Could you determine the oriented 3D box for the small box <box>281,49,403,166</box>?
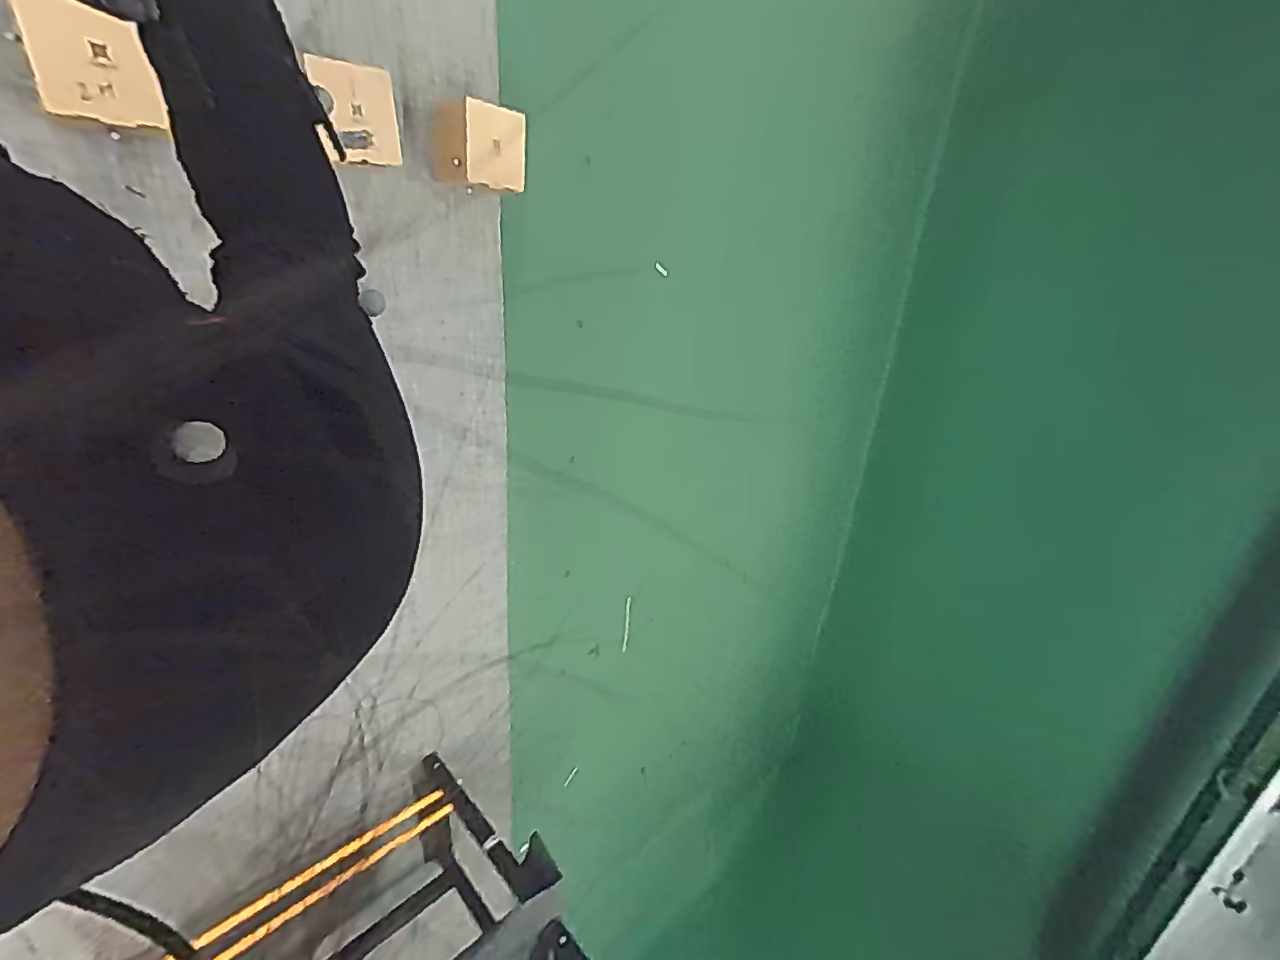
[{"bbox_3d":[-0.632,-0.777,1.151,0.168,0.176,0.179,-22,124,-41],"label":"small box"}]

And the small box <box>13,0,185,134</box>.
[{"bbox_3d":[-0.892,-0.694,0.893,0.168,0.176,0.179,-19,122,-41],"label":"small box"}]

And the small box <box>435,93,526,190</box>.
[{"bbox_3d":[-0.408,-0.848,1.373,0.168,0.176,0.179,-16,120,-43],"label":"small box"}]
